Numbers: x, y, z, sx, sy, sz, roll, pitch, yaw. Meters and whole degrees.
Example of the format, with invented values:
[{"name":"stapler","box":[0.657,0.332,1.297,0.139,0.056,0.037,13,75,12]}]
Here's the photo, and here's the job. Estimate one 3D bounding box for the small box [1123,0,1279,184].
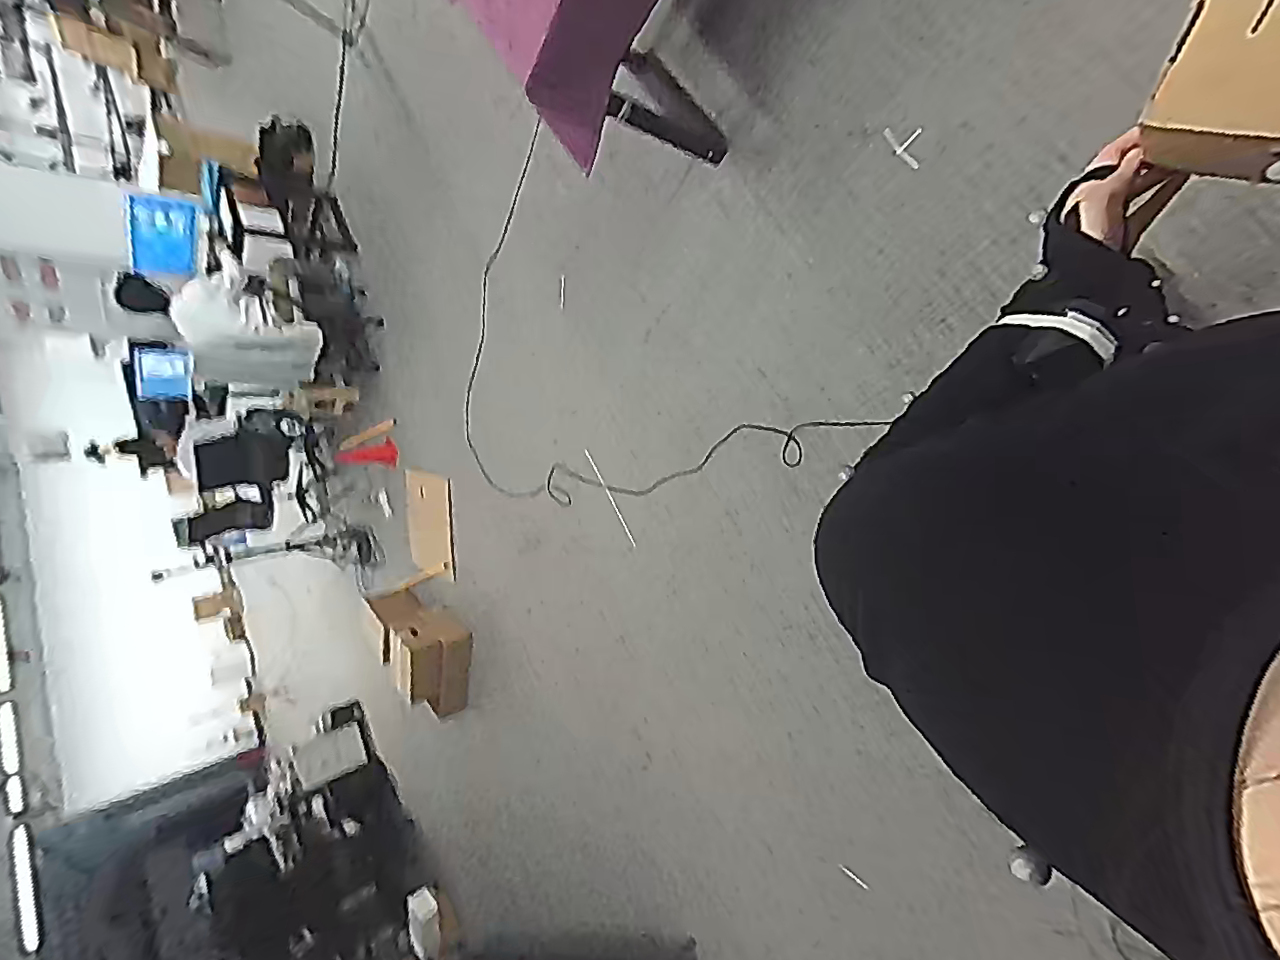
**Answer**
[{"name":"small box","box":[0.427,-0.270,0.306,0.179,0.176,0.168,31,124,32]}]
